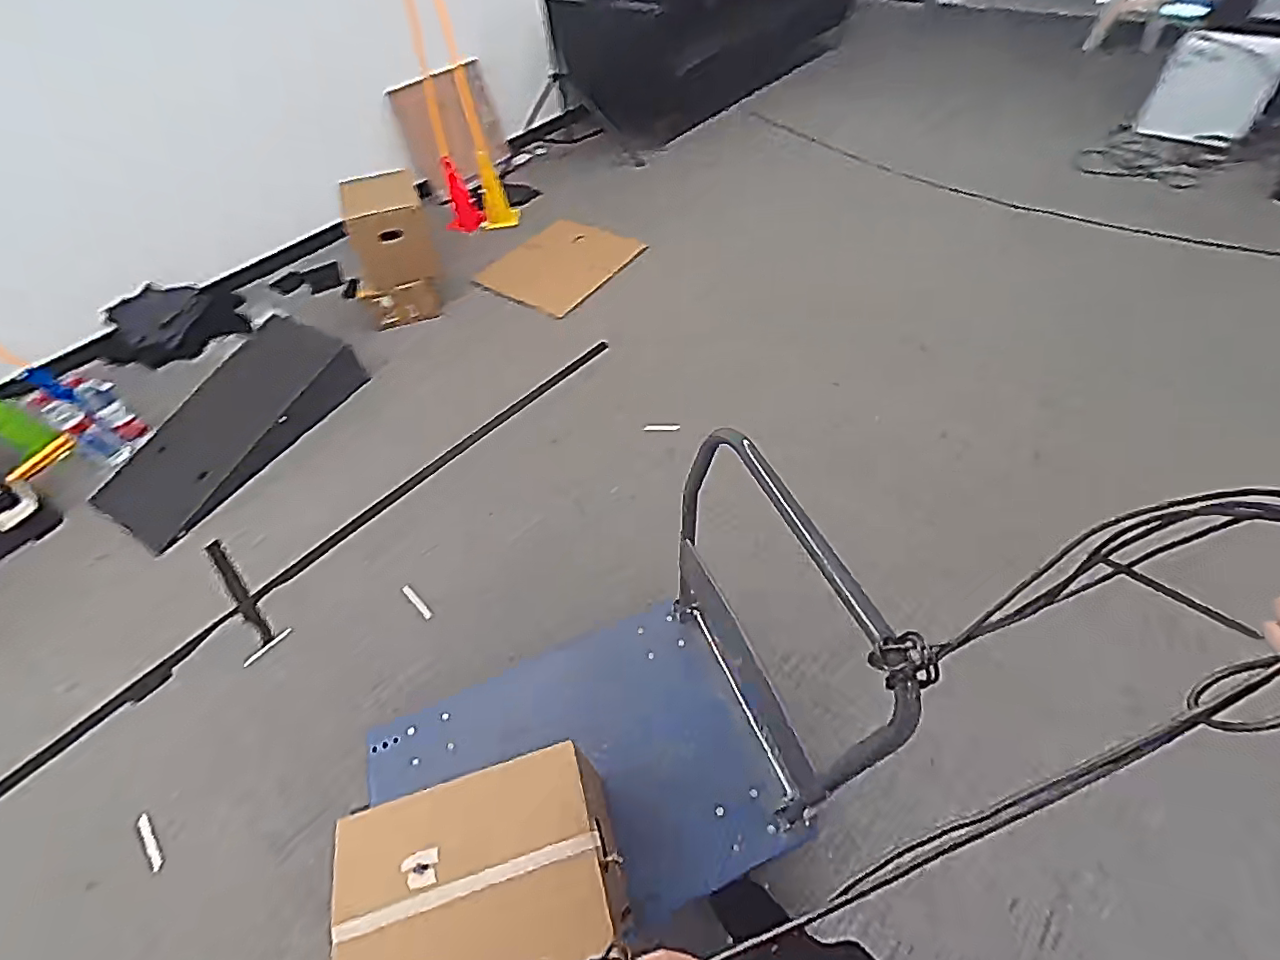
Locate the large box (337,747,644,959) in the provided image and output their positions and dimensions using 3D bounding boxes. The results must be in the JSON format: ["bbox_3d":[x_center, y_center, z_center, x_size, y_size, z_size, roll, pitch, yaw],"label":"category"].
[{"bbox_3d":[-0.239,0.716,0.930,0.408,0.320,0.320,-17,52,-6],"label":"large box"}]
